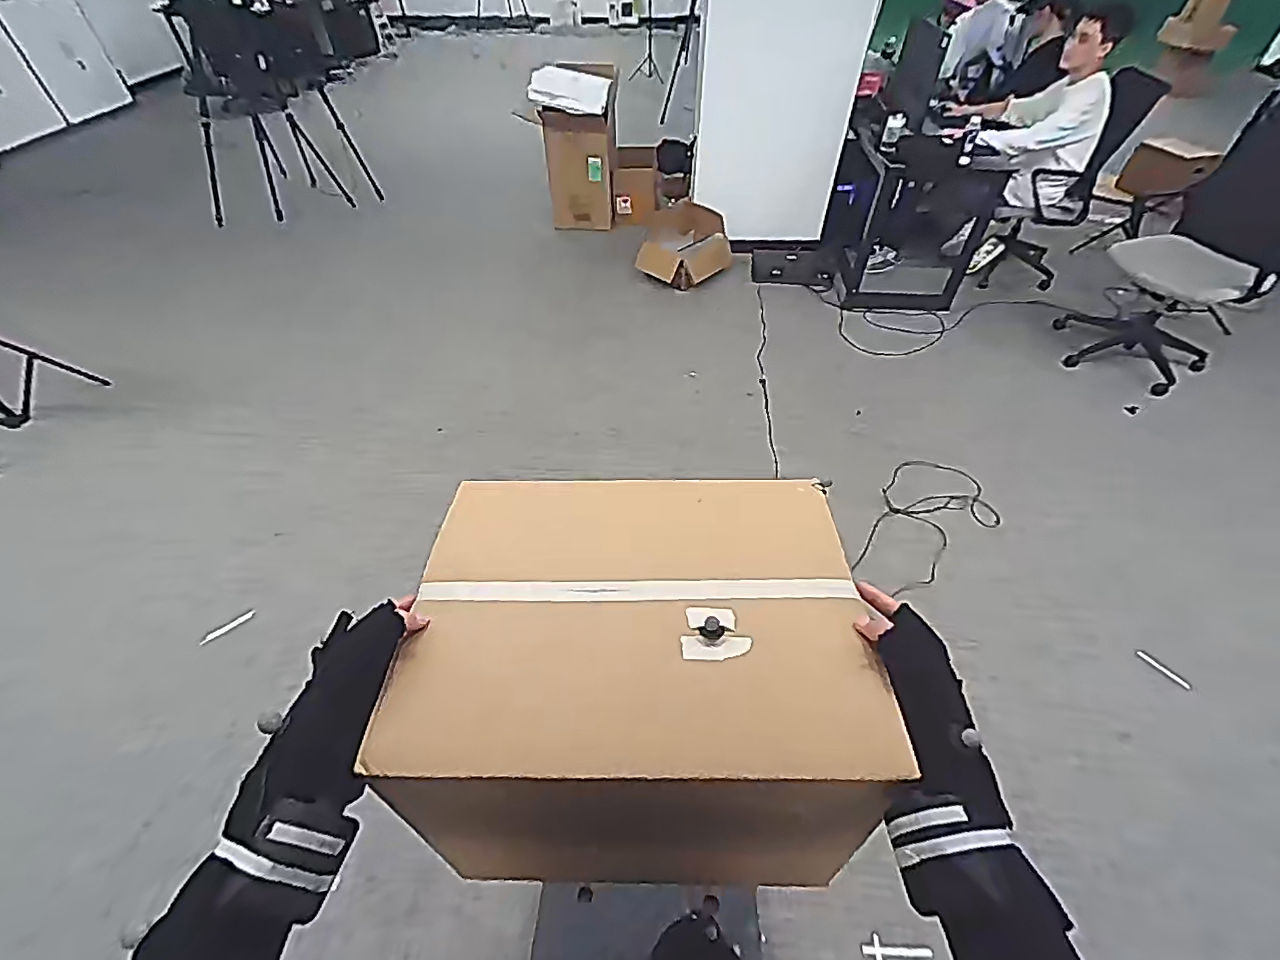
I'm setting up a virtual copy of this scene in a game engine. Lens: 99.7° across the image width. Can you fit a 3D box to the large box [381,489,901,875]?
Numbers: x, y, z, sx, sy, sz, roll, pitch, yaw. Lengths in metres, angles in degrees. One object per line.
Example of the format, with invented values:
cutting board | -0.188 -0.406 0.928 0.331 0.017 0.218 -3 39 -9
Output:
large box | 0.001 0.224 0.614 0.408 0.320 0.320 0 42 1
